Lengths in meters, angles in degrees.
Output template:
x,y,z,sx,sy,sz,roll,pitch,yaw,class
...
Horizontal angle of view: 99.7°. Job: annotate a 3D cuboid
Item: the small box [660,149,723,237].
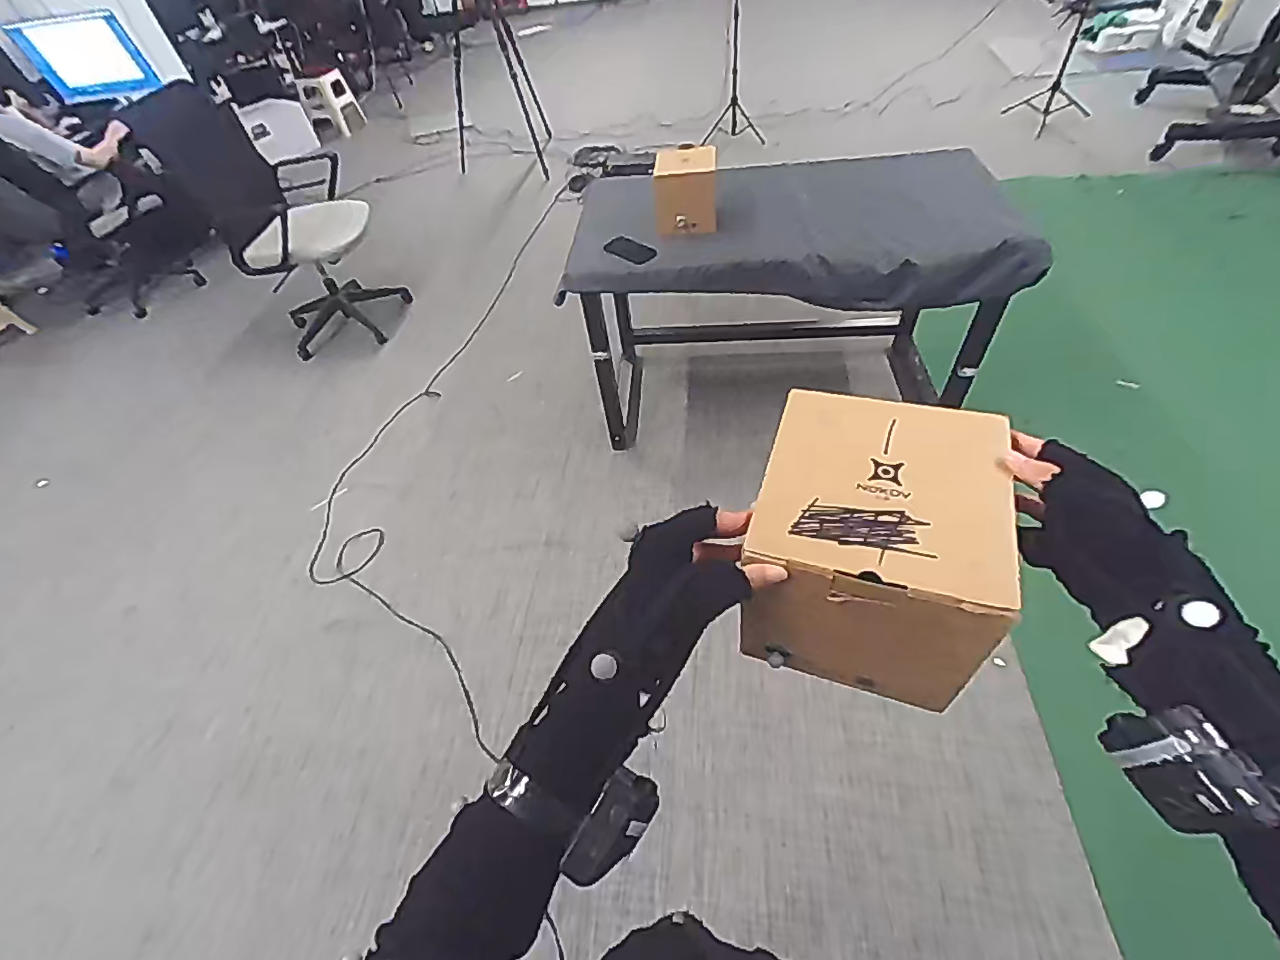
x,y,z,sx,sy,sz,roll,pitch,yaw,class
0.150,-0.811,1.532,0.168,0.176,0.179,-1,51,9,small box
